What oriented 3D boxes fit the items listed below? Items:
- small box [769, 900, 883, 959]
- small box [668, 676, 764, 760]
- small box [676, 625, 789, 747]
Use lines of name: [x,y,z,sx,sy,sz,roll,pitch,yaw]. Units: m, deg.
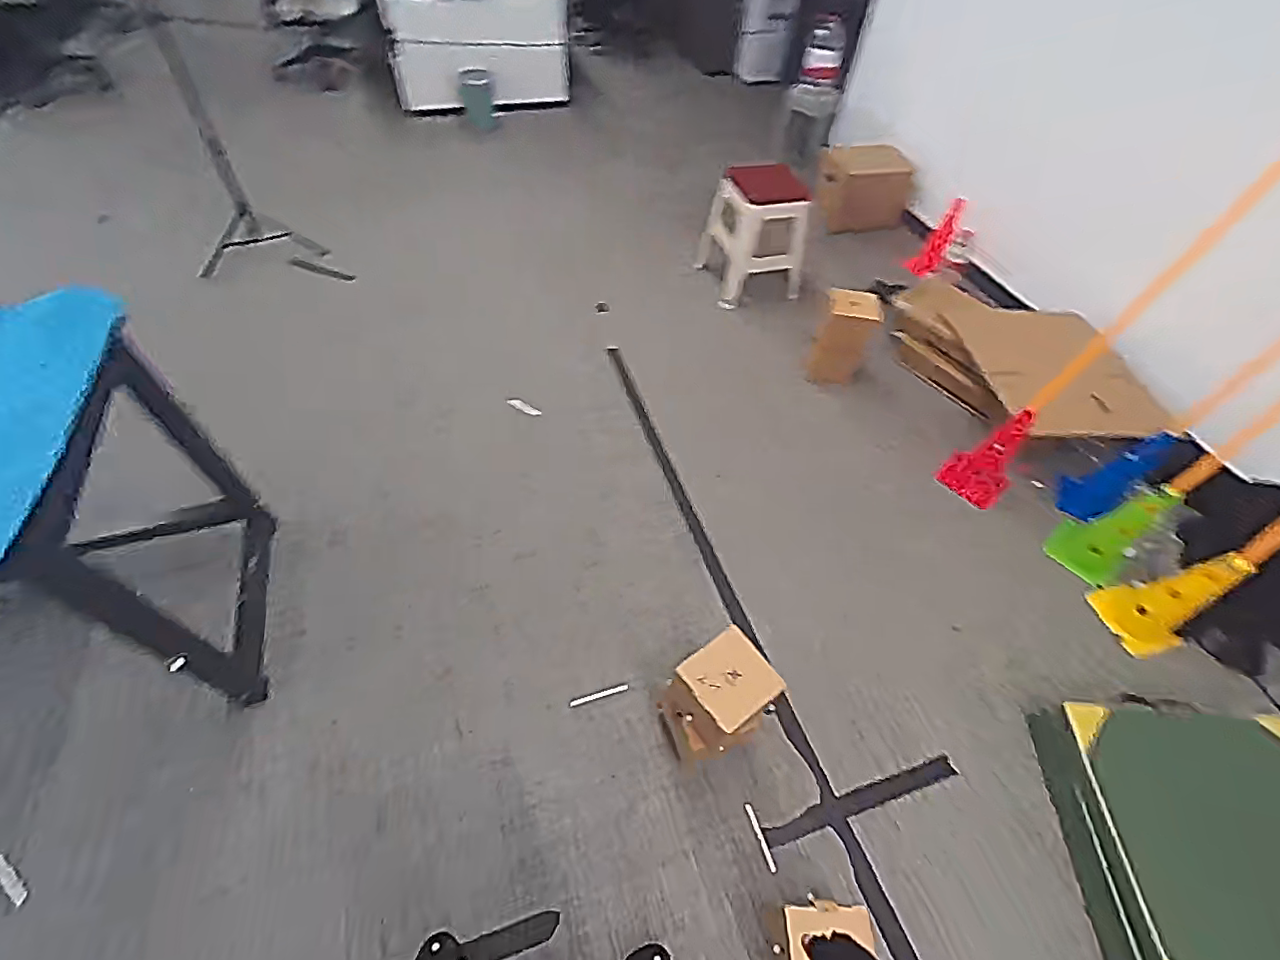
small box: [0.363,0.937,1.060,0.168,0.176,0.179,1,54,-4]
small box: [0.176,0.564,1.326,0.179,0.176,0.168,-13,55,-15]
small box: [0.194,0.459,1.200,0.179,0.176,0.168,-26,58,-19]
